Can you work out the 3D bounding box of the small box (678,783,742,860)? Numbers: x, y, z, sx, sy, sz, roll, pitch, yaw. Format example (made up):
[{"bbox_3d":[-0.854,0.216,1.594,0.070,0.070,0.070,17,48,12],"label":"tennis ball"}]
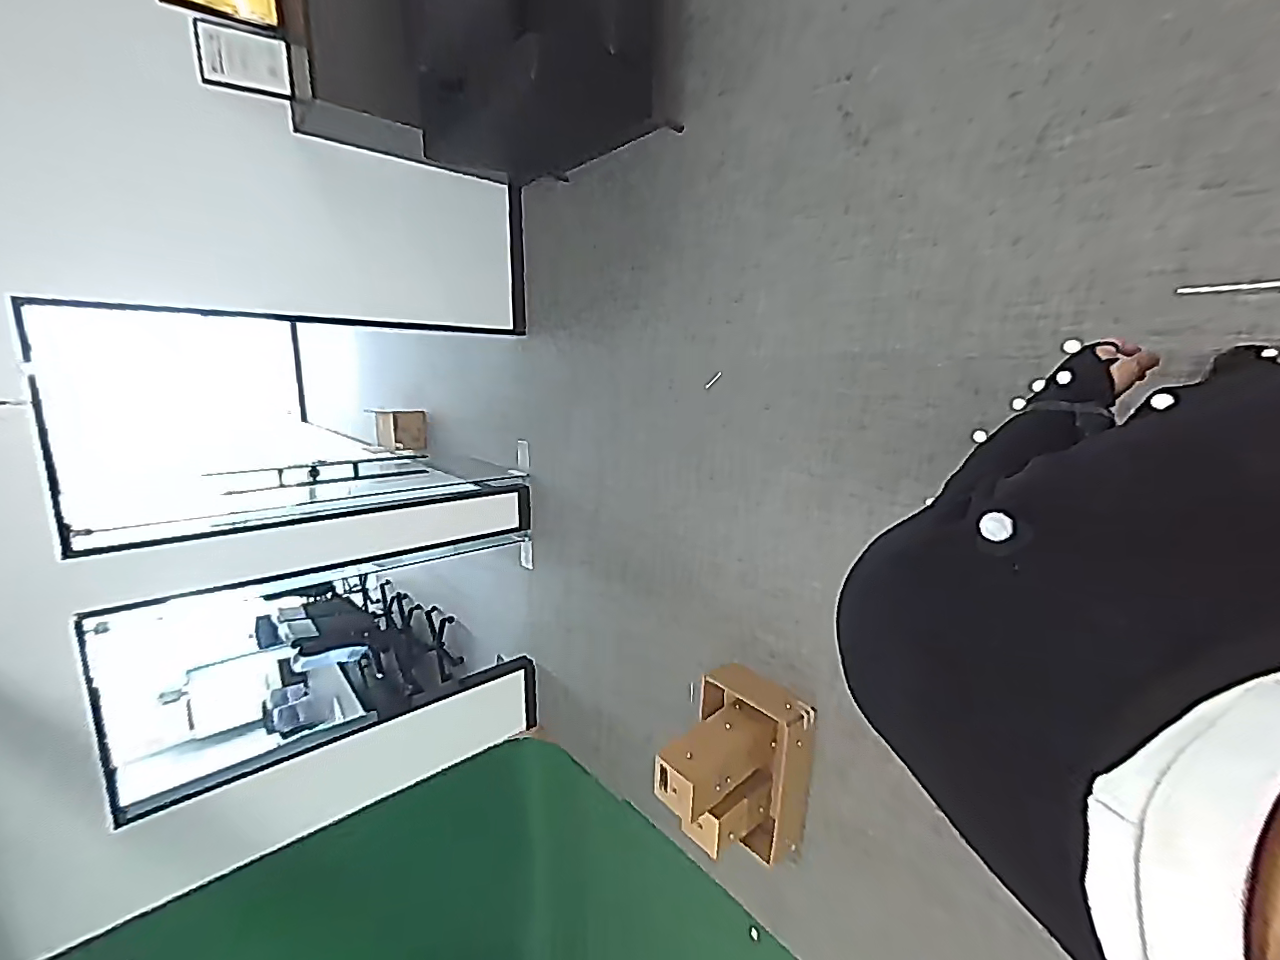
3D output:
[{"bbox_3d":[0.261,1.249,2.015,0.179,0.176,0.168,13,106,47],"label":"small box"}]

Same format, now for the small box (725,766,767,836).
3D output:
[{"bbox_3d":[0.380,1.236,2.123,0.179,0.176,0.168,15,107,46],"label":"small box"}]

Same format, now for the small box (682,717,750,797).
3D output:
[{"bbox_3d":[0.273,0.991,1.959,0.179,0.176,0.168,15,110,47],"label":"small box"}]
